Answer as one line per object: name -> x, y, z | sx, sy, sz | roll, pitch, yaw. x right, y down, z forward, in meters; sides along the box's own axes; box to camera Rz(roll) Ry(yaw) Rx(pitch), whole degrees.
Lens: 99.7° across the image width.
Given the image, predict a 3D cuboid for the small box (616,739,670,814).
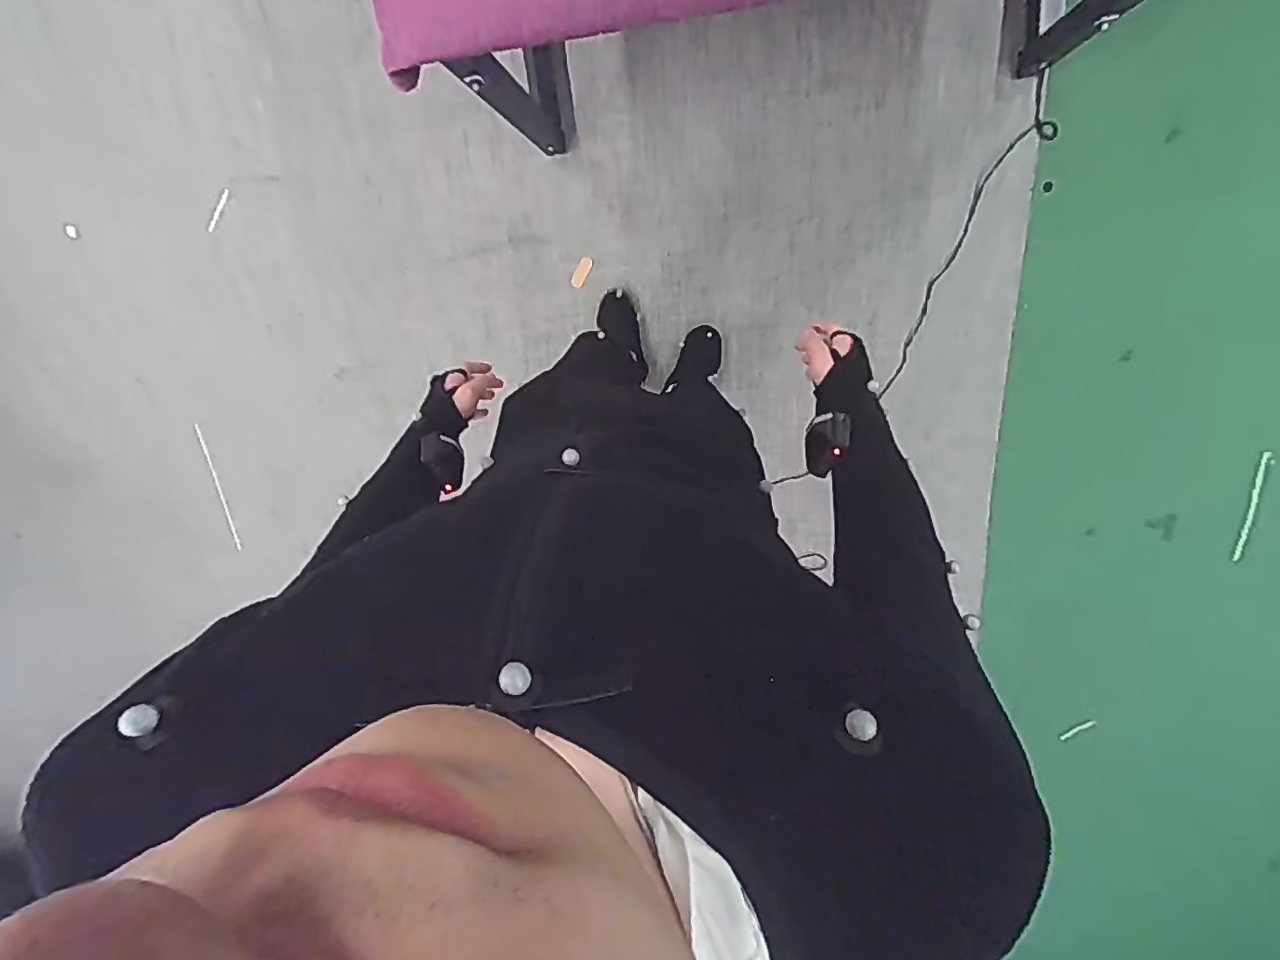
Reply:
small box -> 0.015, 1.051, 1.924 | 0.179, 0.176, 0.168 | -1, 108, 7
